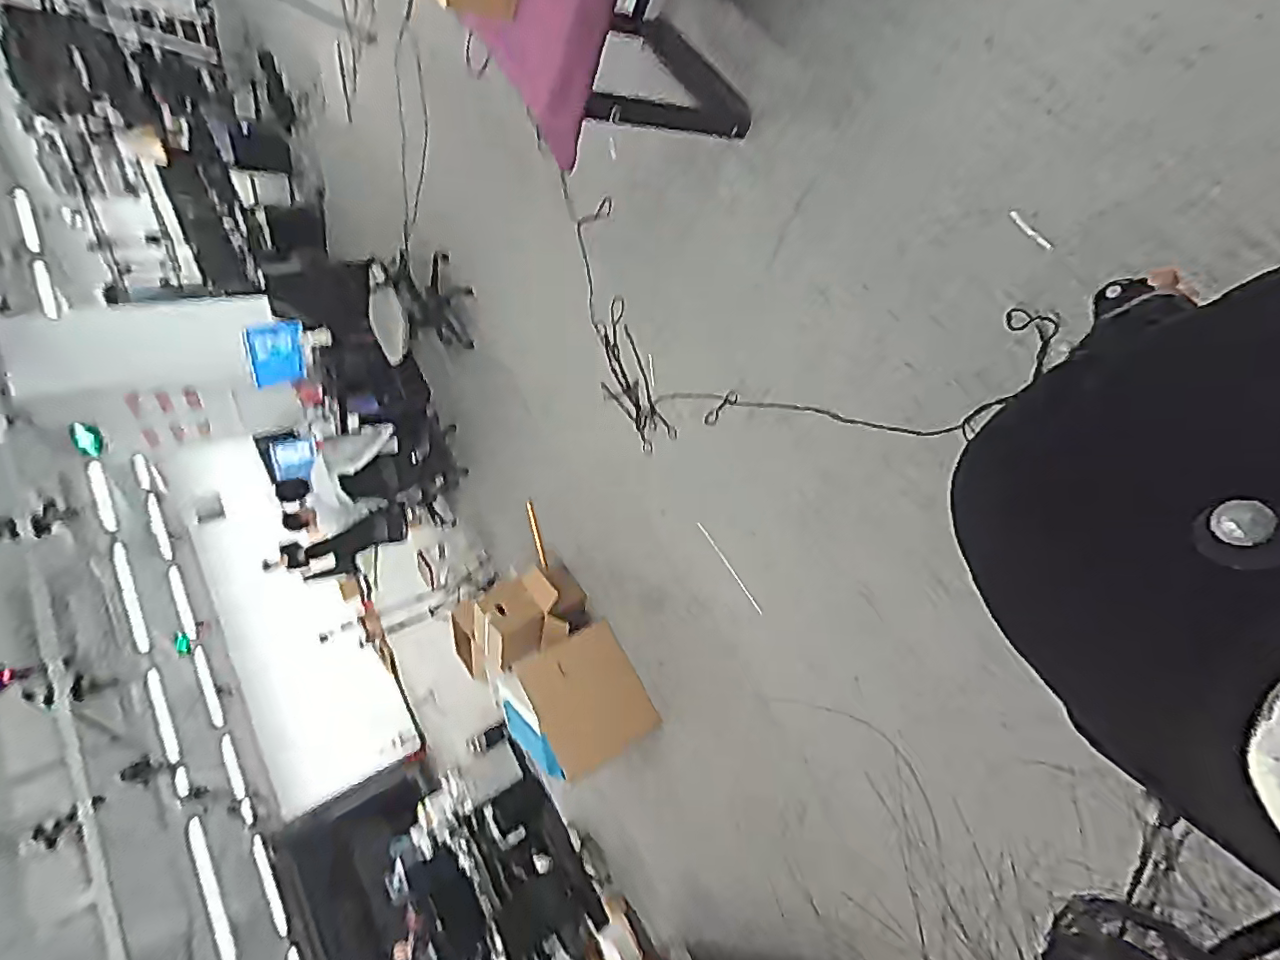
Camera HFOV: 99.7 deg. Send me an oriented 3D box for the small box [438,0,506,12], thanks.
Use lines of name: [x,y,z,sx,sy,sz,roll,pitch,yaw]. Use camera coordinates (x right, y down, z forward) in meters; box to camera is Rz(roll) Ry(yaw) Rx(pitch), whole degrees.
small box: [-0.380,-1.155,1.164,0.179,0.176,0.168,58,142,14]
